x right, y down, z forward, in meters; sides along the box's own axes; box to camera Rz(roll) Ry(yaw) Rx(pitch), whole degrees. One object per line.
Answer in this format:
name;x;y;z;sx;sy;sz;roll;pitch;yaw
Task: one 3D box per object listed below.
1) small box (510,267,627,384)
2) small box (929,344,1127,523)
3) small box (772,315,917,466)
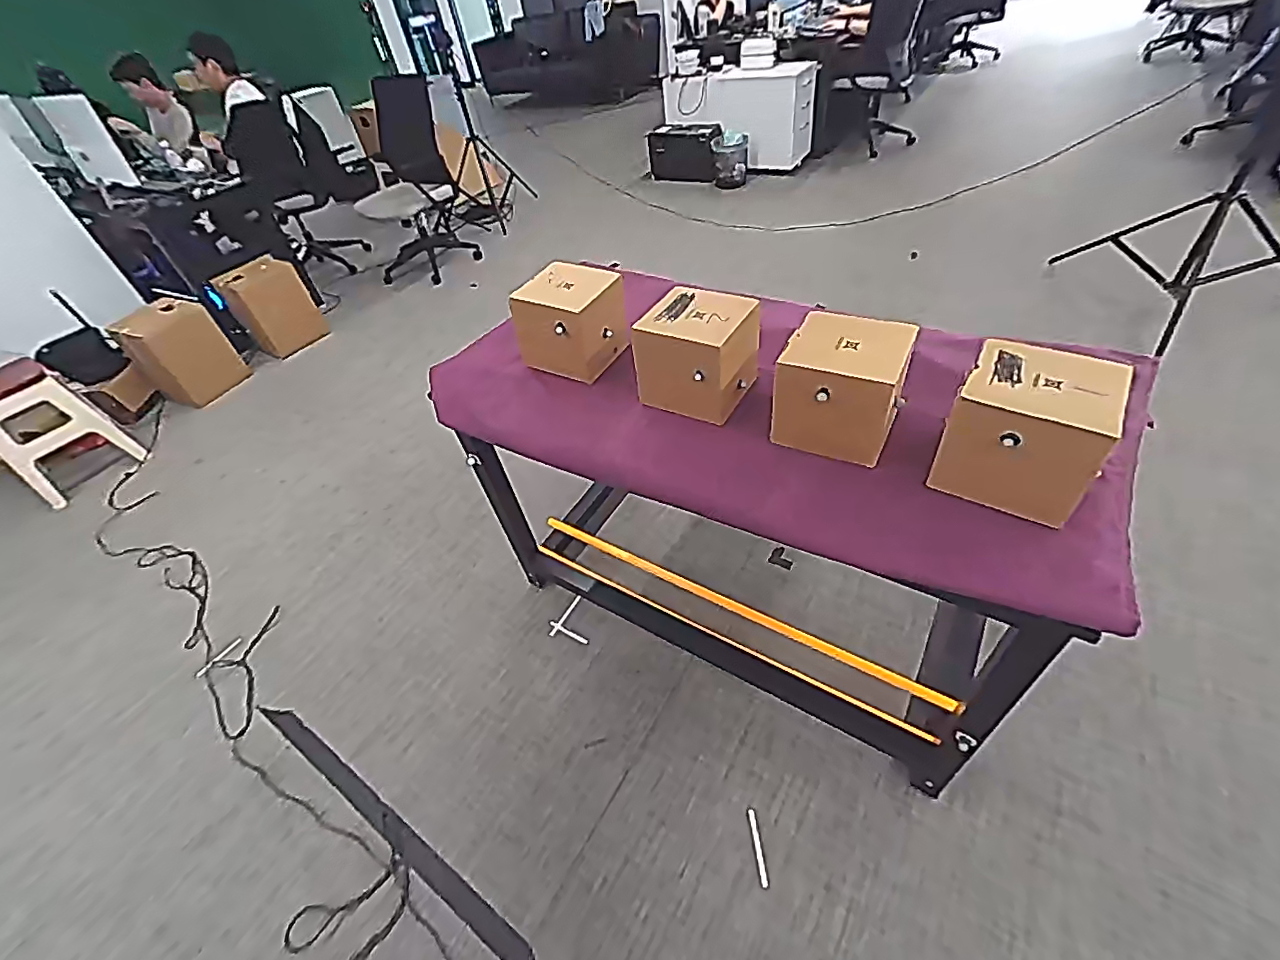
small box;-0.142;-0.327;1.154;0.179;0.176;0.168;19;51;24
small box;0.538;-0.066;0.769;0.179;0.176;0.168;23;53;29
small box;0.331;-0.146;0.894;0.179;0.176;0.168;17;51;26
